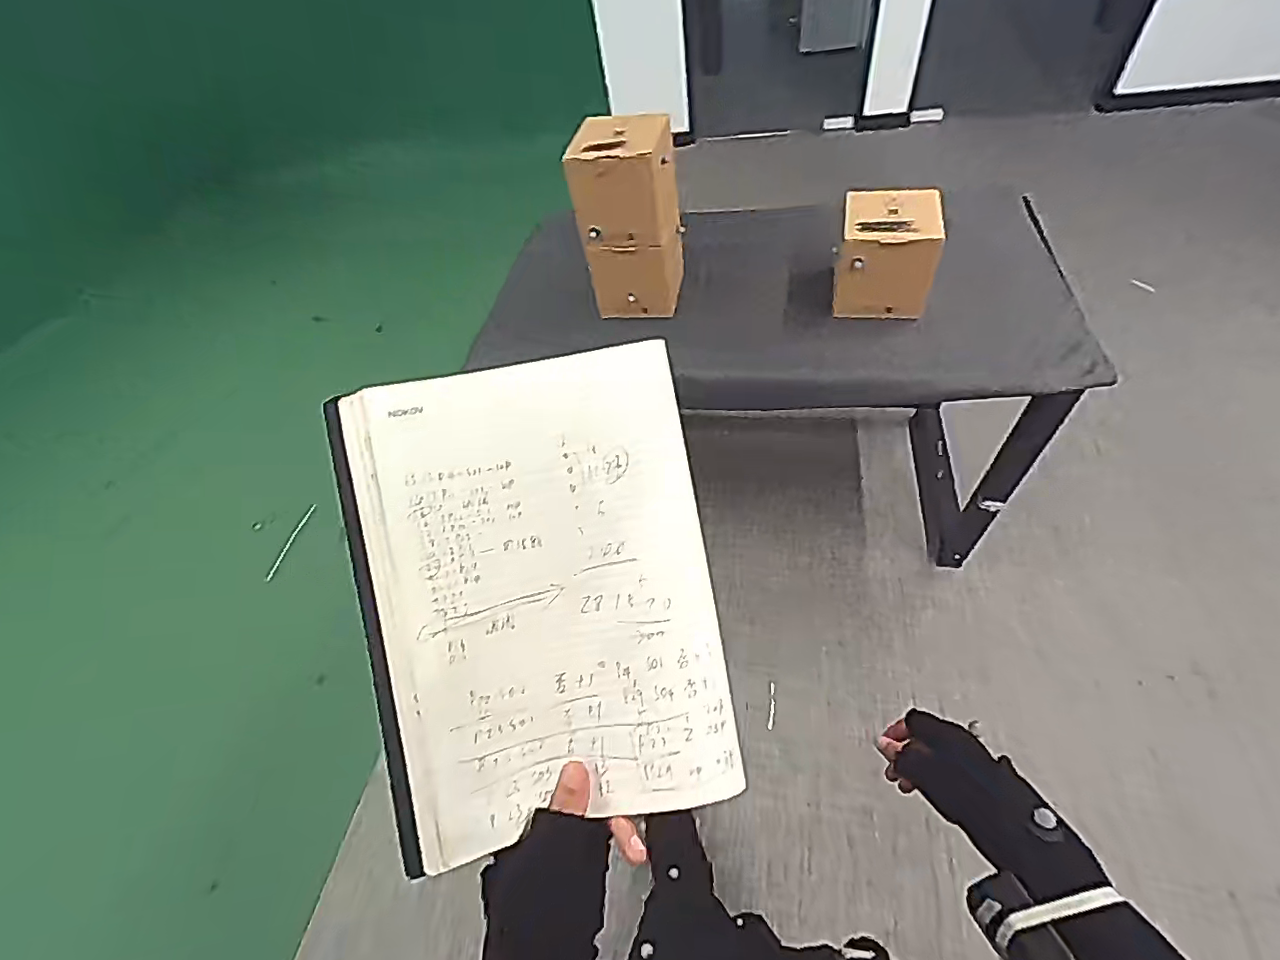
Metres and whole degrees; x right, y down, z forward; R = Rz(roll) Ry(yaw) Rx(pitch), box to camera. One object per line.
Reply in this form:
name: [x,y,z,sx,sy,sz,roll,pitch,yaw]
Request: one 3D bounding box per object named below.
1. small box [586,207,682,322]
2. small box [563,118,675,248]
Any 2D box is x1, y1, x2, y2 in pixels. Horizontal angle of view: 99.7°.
small box: [-0.004,-0.466,1.173,0.168,0.176,0.179,3,54,13]
small box: [-0.029,-0.567,1.046,0.168,0.176,0.179,5,53,13]
